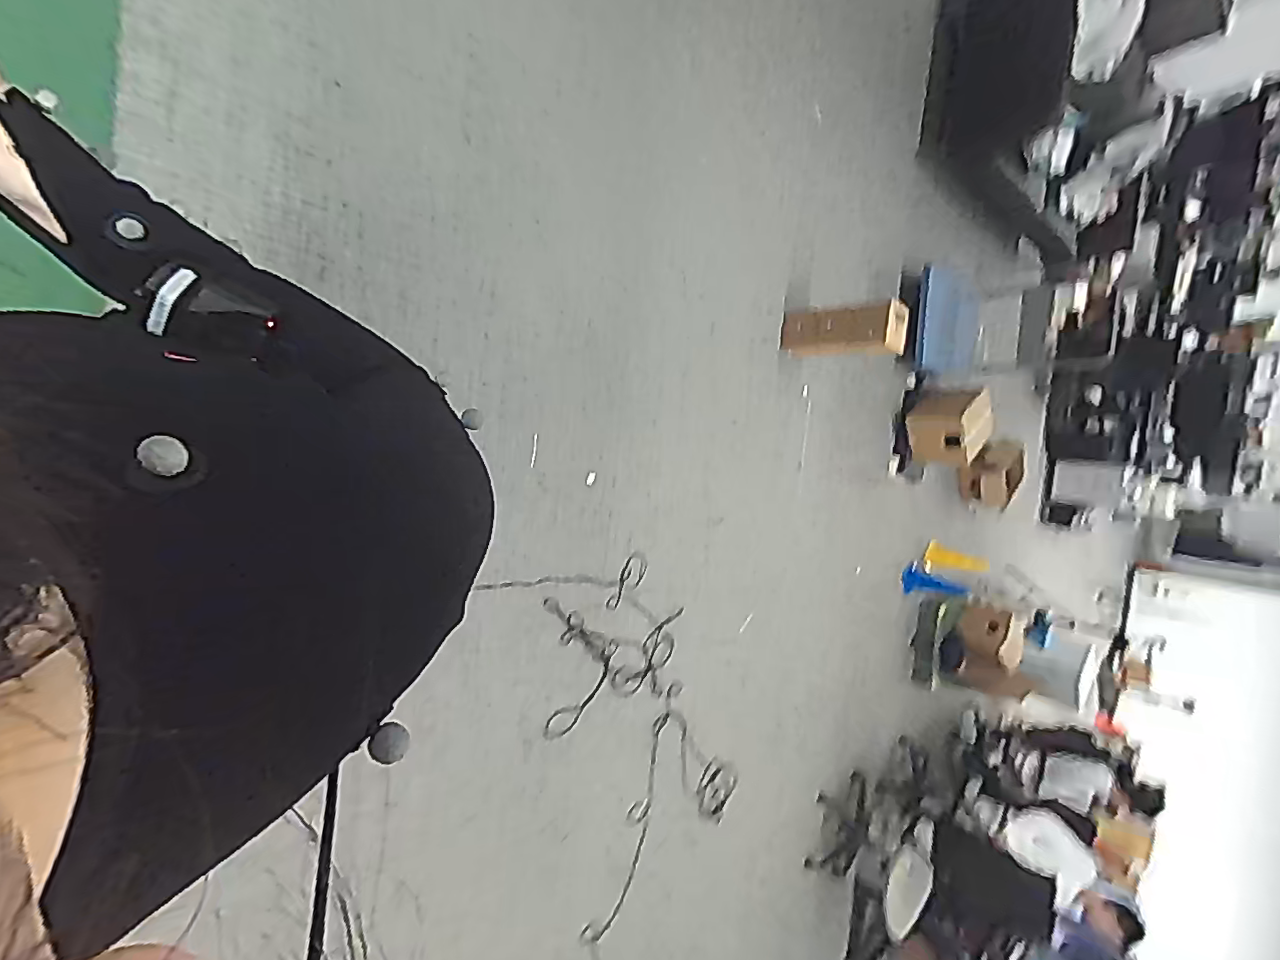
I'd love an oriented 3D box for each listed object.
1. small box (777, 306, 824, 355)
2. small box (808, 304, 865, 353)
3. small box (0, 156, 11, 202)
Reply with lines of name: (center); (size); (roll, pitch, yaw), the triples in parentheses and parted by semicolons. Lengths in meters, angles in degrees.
small box: (0.753, -0.684, 2.504); (0.168, 0.176, 0.179); (6, 91, -42)
small box: (0.862, -0.661, 2.383); (0.179, 0.176, 0.168); (6, 92, -42)
small box: (-0.495, -0.248, 0.280); (0.168, 0.176, 0.179); (-23, 115, -35)
